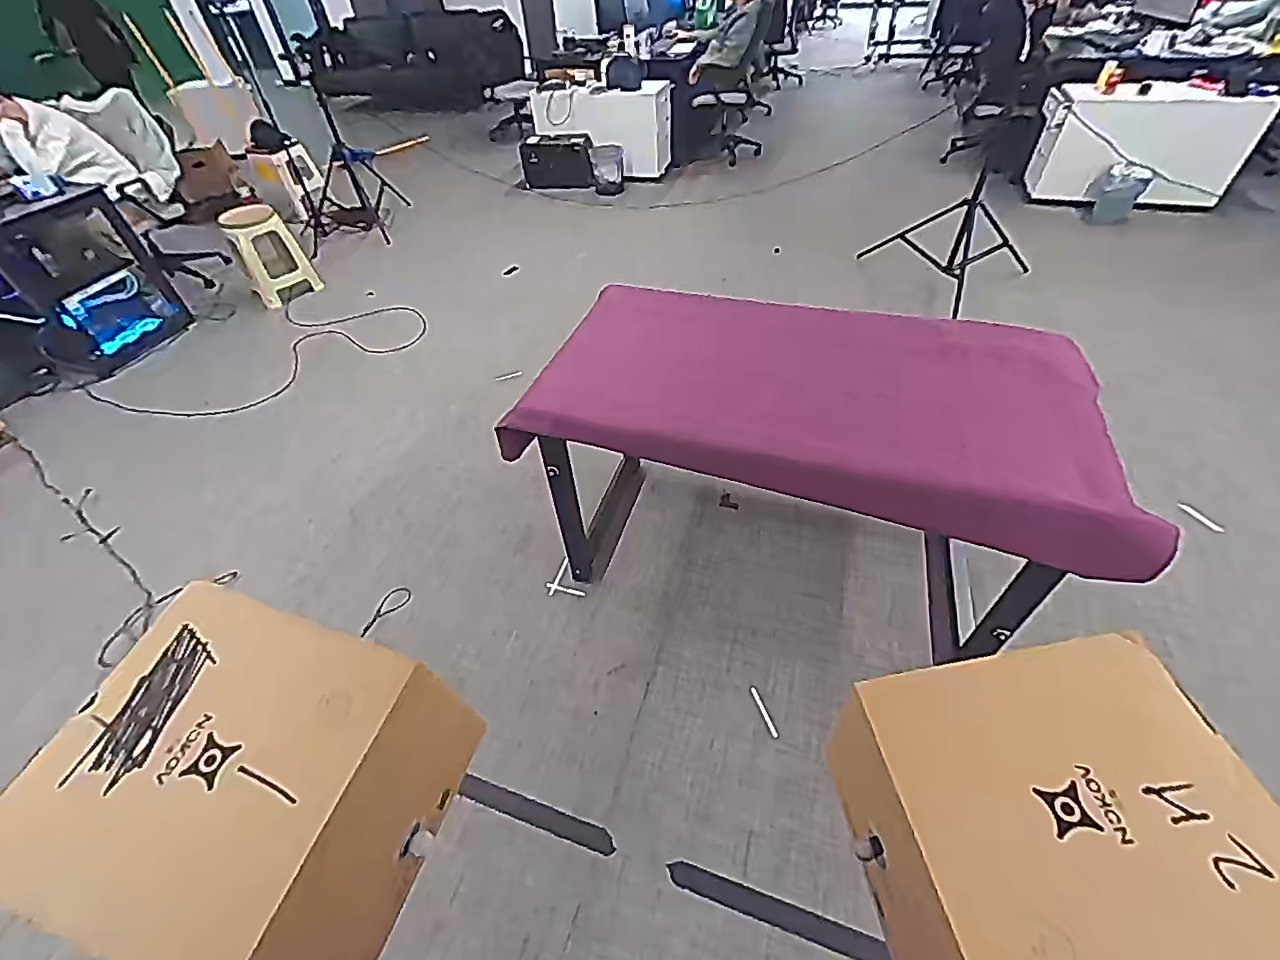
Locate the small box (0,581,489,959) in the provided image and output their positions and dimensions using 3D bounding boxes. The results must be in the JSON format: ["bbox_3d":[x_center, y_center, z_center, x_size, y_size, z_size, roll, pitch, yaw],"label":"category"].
[{"bbox_3d":[-0.229,0.196,0.360,0.179,0.176,0.168,15,56,11],"label":"small box"}]

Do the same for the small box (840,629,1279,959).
[{"bbox_3d":[0.241,0.219,0.341,0.179,0.176,0.168,-11,49,1],"label":"small box"}]
